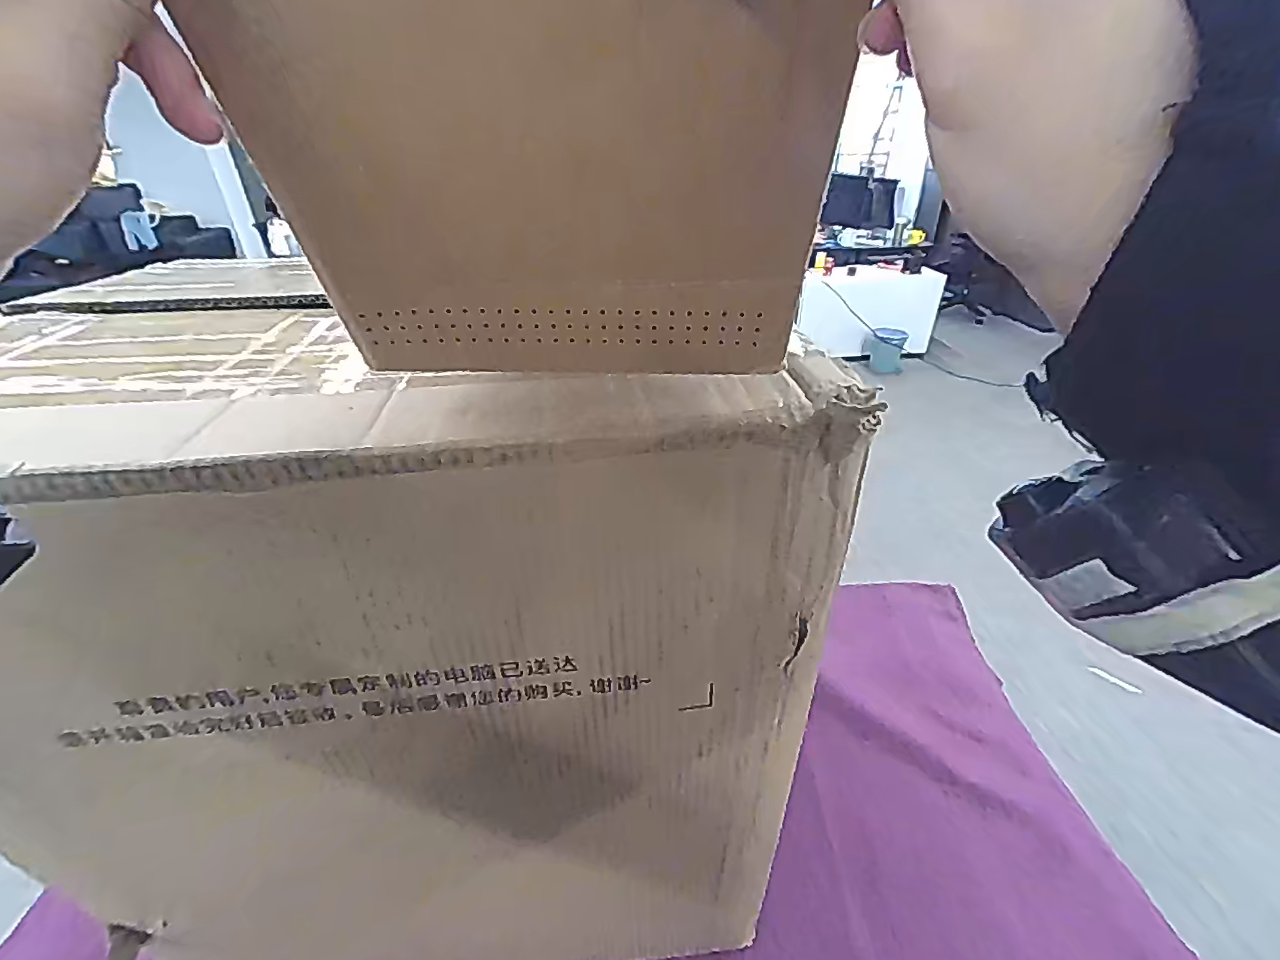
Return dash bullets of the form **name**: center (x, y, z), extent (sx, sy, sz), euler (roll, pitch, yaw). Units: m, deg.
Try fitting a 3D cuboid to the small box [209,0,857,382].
- **small box**: center (-0.027, -0.153, 0.209), extent (0.179, 0.176, 0.168), euler (1, 54, 1)
